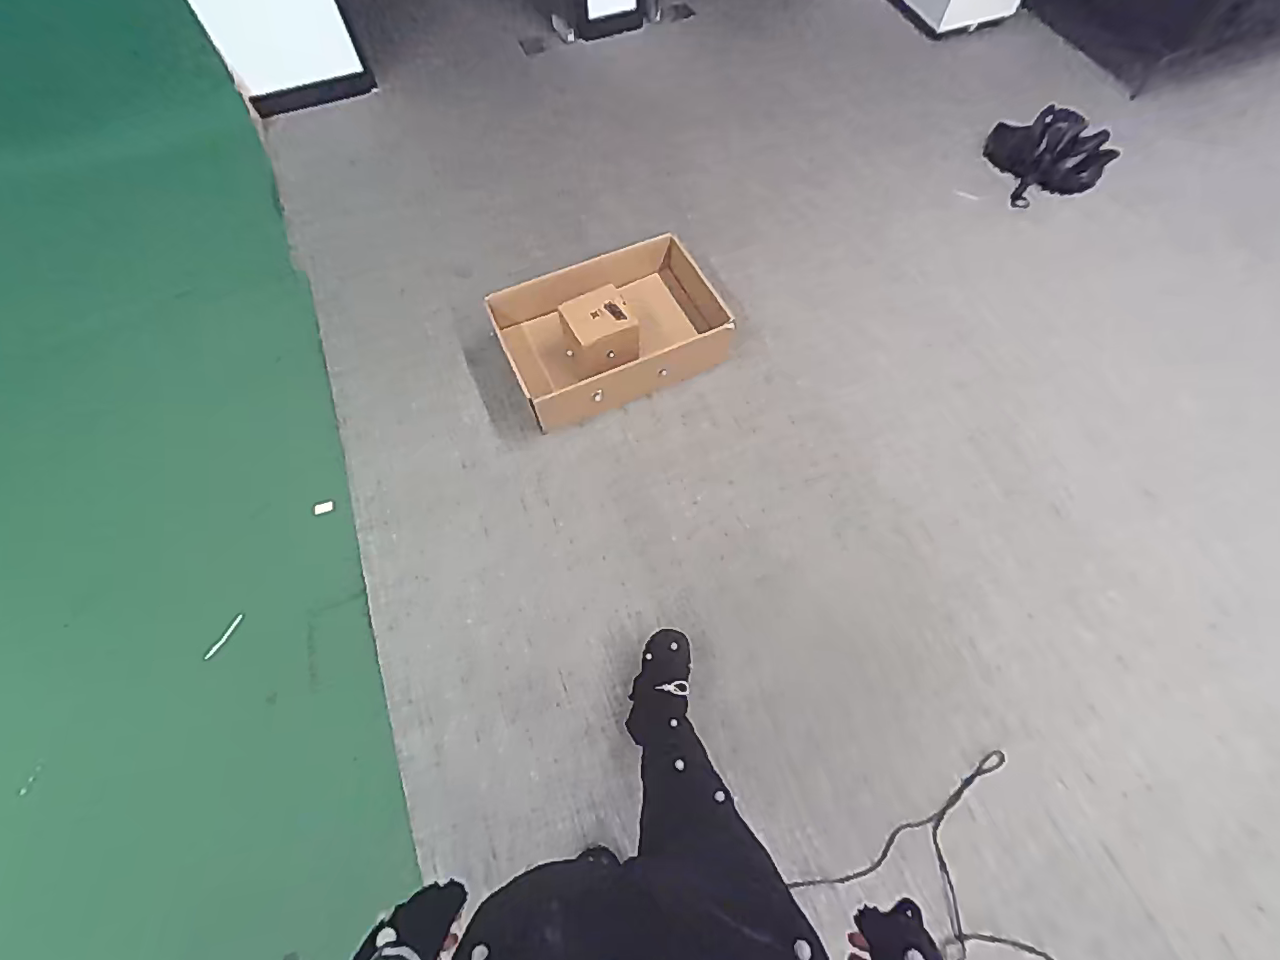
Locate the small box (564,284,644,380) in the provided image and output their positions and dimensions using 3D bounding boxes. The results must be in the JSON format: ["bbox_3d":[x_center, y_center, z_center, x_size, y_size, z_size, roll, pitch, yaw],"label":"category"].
[{"bbox_3d":[-0.099,-0.421,1.556,0.179,0.176,0.168,-25,66,-10],"label":"small box"}]
